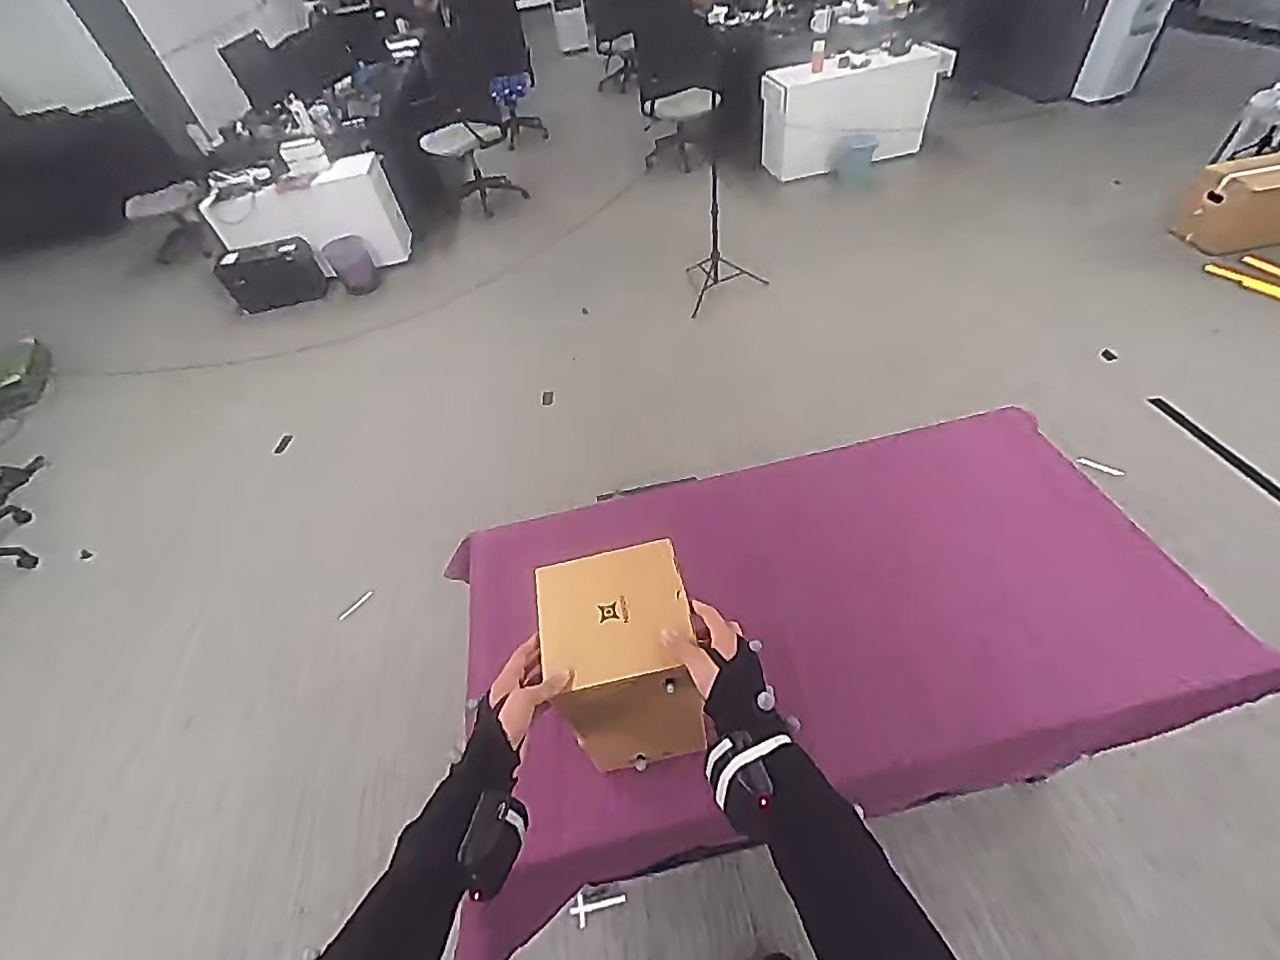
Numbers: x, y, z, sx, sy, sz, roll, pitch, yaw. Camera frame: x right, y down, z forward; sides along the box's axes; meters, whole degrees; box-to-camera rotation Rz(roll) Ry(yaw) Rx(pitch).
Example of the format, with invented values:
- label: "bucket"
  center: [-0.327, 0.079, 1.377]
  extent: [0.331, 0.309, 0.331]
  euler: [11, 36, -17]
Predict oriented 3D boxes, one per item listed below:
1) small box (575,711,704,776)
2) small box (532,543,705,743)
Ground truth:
- label: "small box"
  center: [-0.005, 0.310, 0.799]
  extent: [0.168, 0.176, 0.179]
  euler: [-13, 49, 0]
- label: "small box"
  center: [-0.024, 0.207, 0.674]
  extent: [0.179, 0.176, 0.168]
  euler: [-13, 49, -1]
